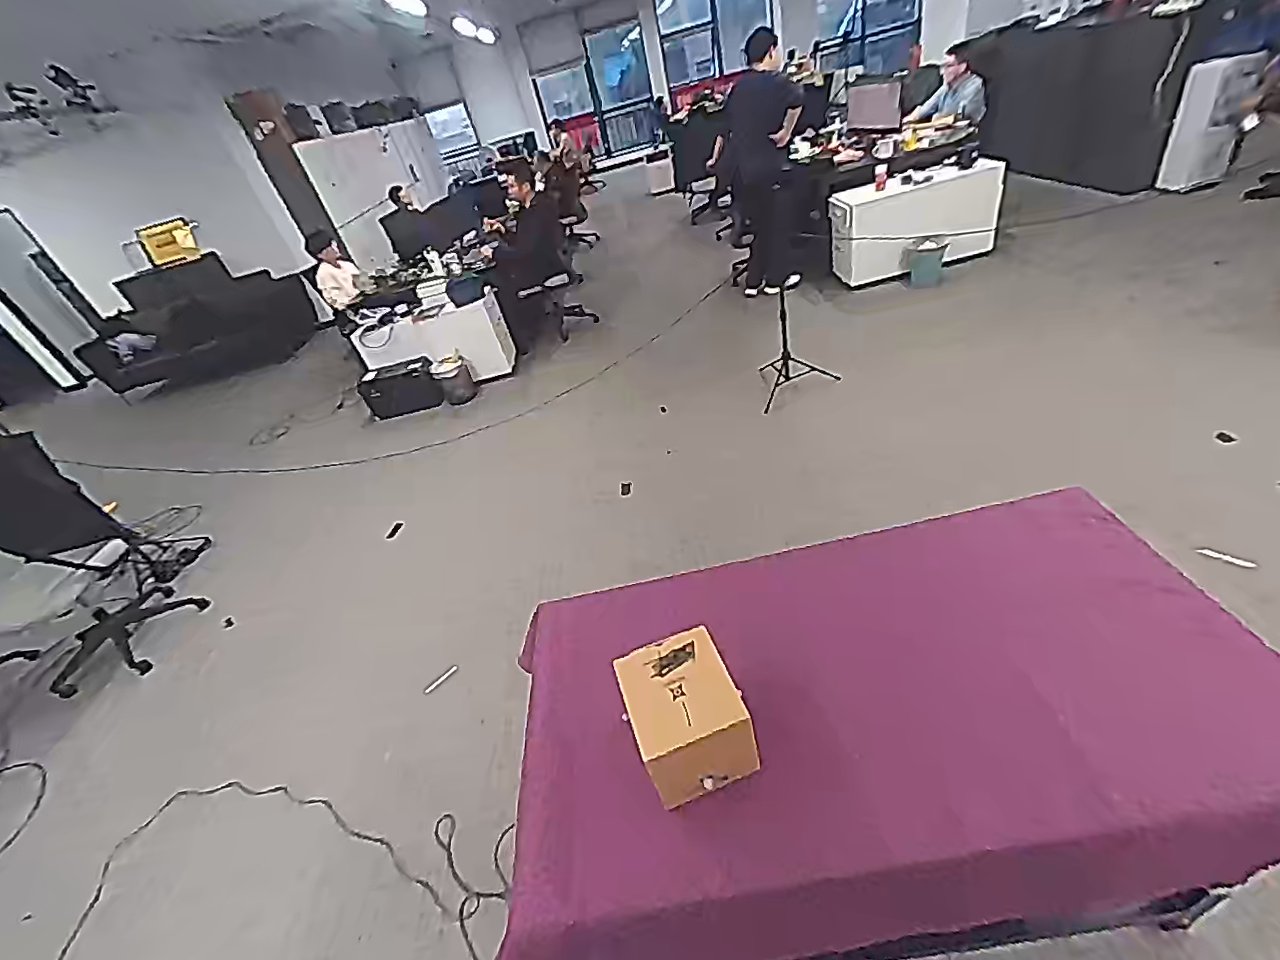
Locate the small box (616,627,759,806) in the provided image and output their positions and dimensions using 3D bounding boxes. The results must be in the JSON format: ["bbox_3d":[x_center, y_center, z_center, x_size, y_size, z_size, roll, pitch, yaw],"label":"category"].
[{"bbox_3d":[0.076,0.377,0.869,0.168,0.176,0.179,-21,37,-6],"label":"small box"}]
